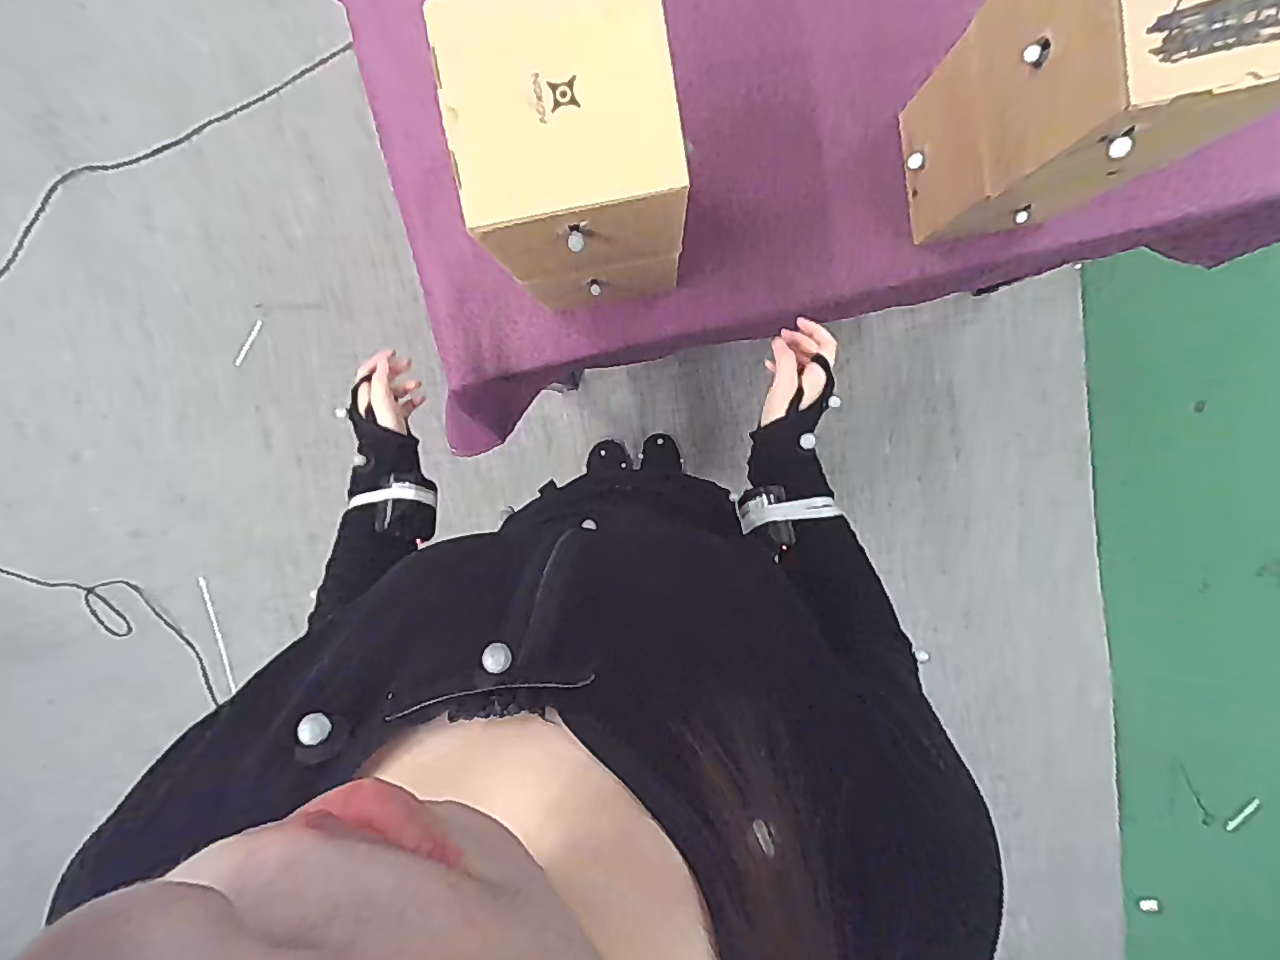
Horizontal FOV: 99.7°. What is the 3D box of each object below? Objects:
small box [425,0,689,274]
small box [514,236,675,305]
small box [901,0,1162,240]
[{"bbox_3d":[-0.057,-0.298,0.479,0.179,0.176,0.168,-9,96,5],"label":"small box"},{"bbox_3d":[-0.055,-0.316,0.642,0.179,0.176,0.168,-9,97,3],"label":"small box"},{"bbox_3d":[0.425,-0.392,0.613,0.179,0.176,0.168,-9,96,4],"label":"small box"}]
